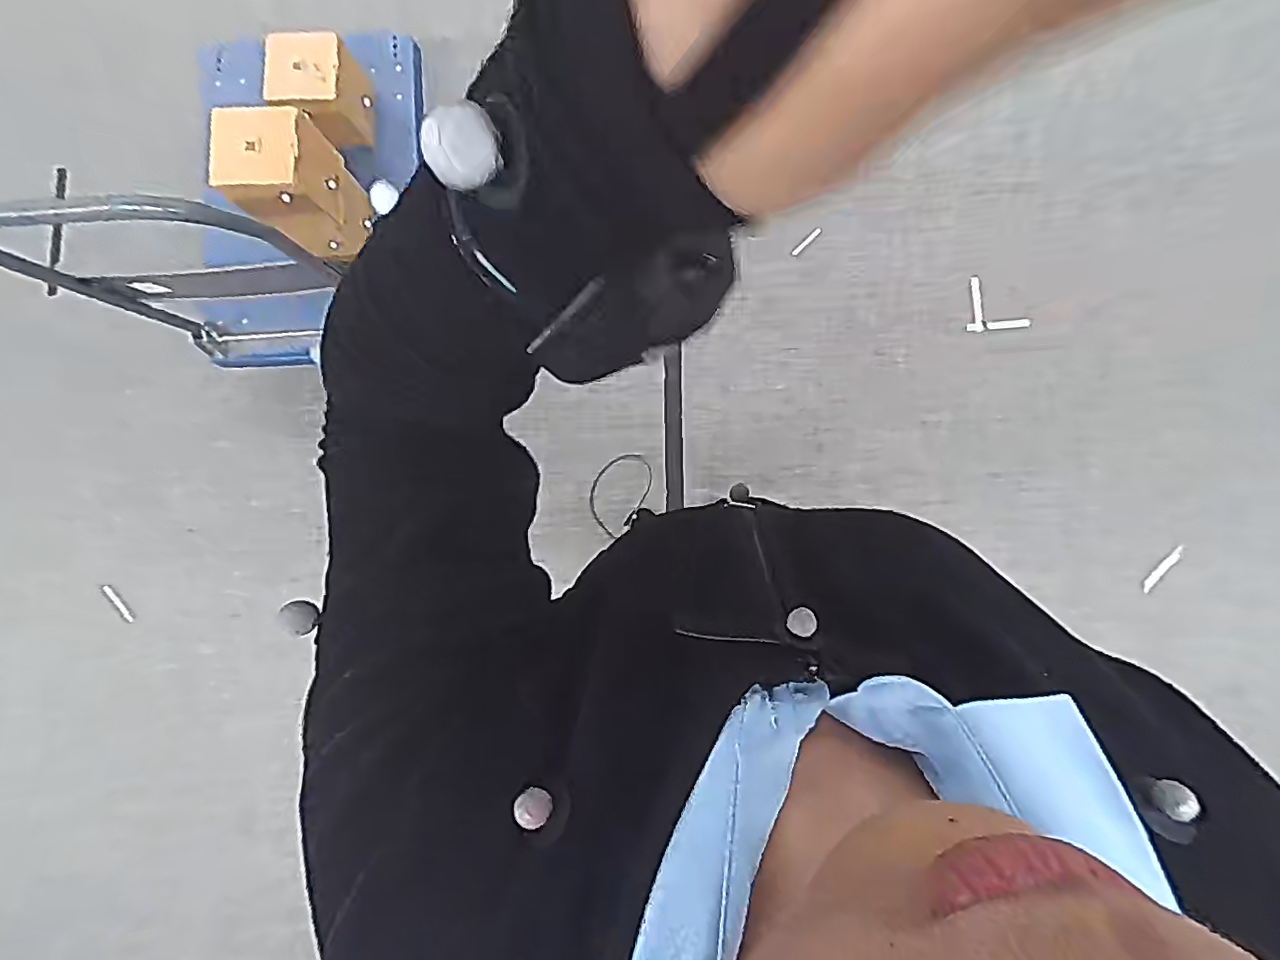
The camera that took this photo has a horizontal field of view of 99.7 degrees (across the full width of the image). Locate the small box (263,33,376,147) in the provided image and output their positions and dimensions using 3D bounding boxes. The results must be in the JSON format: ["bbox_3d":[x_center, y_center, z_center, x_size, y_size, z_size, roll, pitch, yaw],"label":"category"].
[{"bbox_3d":[-0.786,-0.955,1.336,0.179,0.176,0.168,1,87,2],"label":"small box"}]

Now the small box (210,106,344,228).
[{"bbox_3d":[-0.767,-0.659,1.155,0.179,0.176,0.168,-1,86,0],"label":"small box"}]
